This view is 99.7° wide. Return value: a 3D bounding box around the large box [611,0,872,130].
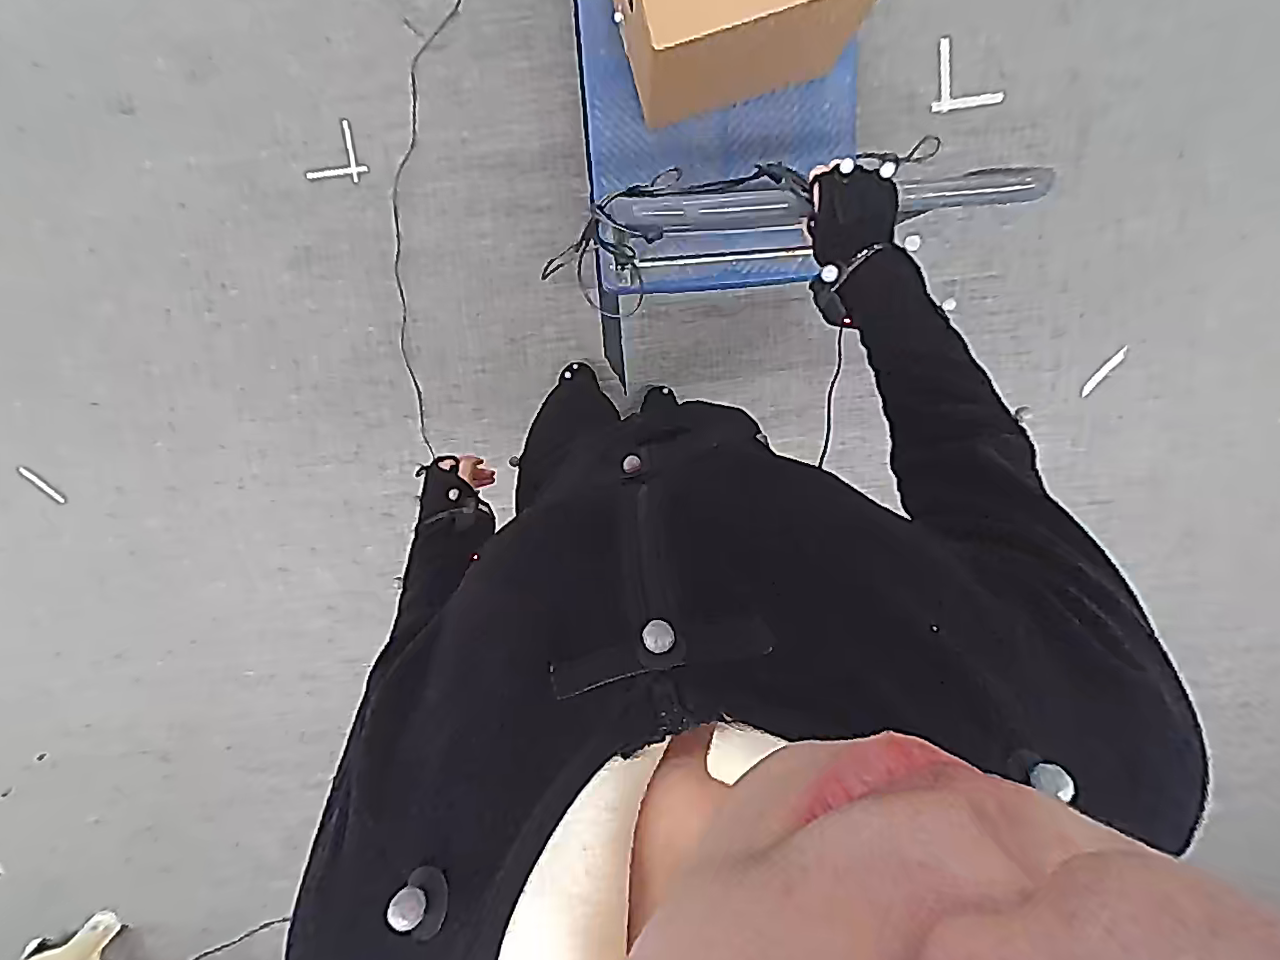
[{"bbox_3d":[0.165,-0.917,0.982,0.408,0.320,0.320,-16,102,2],"label":"large box"}]
